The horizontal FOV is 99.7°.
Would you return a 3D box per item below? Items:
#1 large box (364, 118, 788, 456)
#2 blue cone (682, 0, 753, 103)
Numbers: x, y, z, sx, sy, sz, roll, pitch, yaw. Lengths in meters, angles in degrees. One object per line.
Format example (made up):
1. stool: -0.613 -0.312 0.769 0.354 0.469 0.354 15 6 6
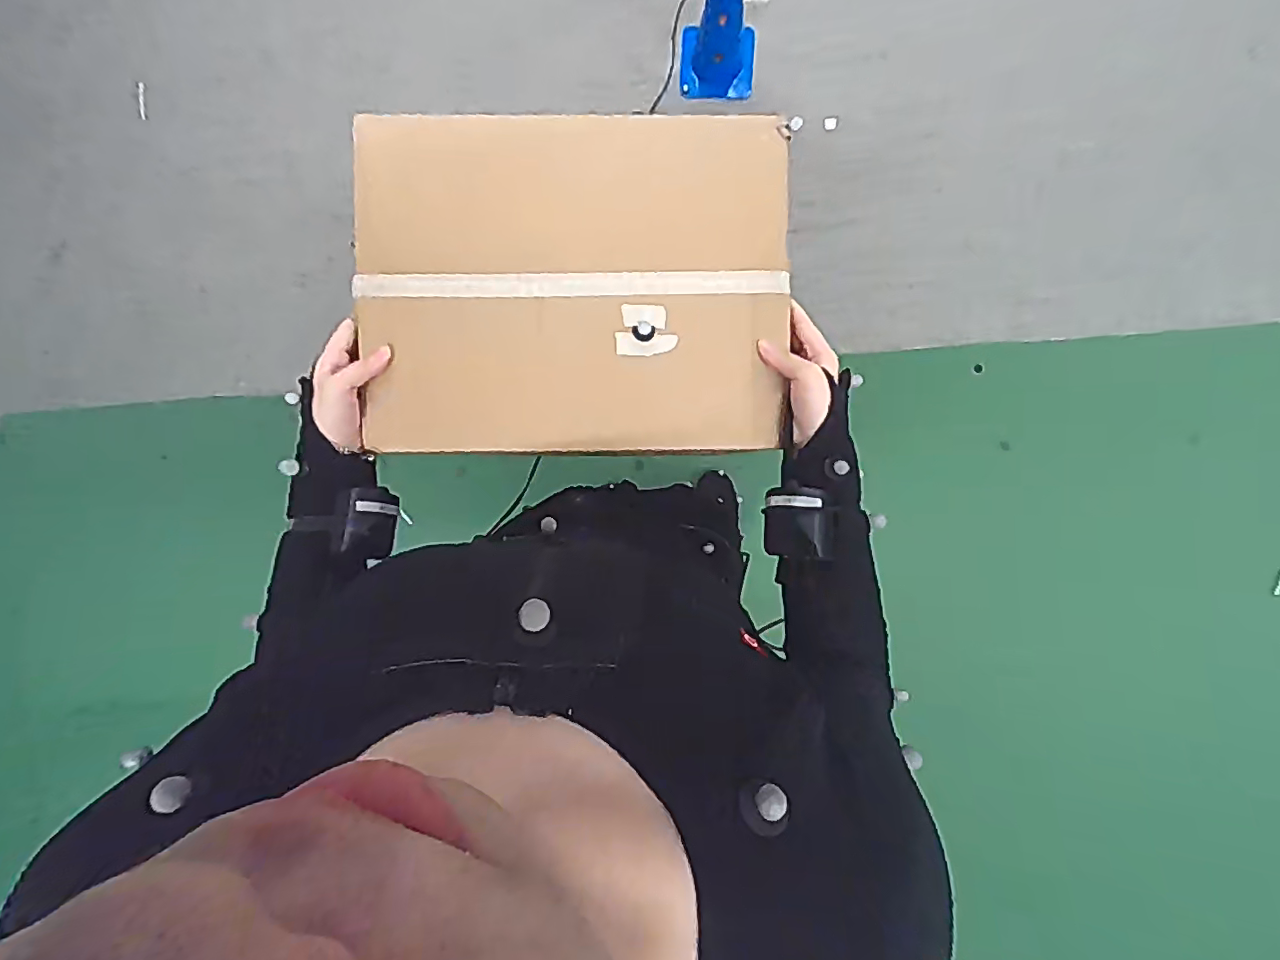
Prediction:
1. large box: -0.064 -0.192 0.665 0.408 0.320 0.320 -1 92 -2
2. blue cone: 0.208 -1.144 1.333 0.193 0.380 0.192 5 91 2
